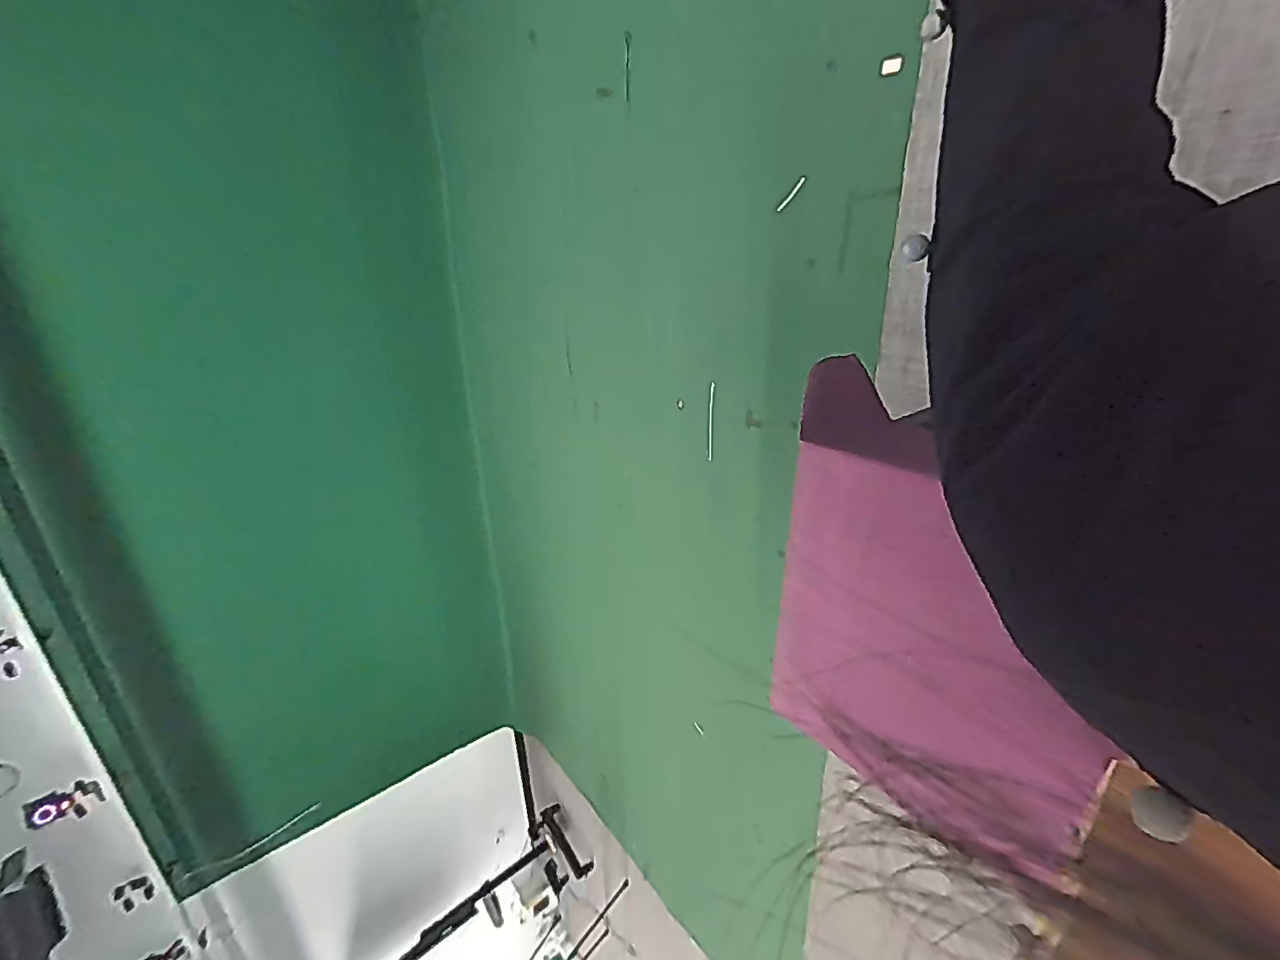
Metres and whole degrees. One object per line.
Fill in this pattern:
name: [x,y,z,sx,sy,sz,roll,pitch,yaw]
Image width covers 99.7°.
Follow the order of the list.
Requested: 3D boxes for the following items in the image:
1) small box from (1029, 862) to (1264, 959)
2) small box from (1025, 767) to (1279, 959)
small box: [0.347,0.414,0.355,0.168,0.176,0.179,31,129,43]
small box: [0.475,0.393,0.458,0.179,0.176,0.168,28,126,45]
